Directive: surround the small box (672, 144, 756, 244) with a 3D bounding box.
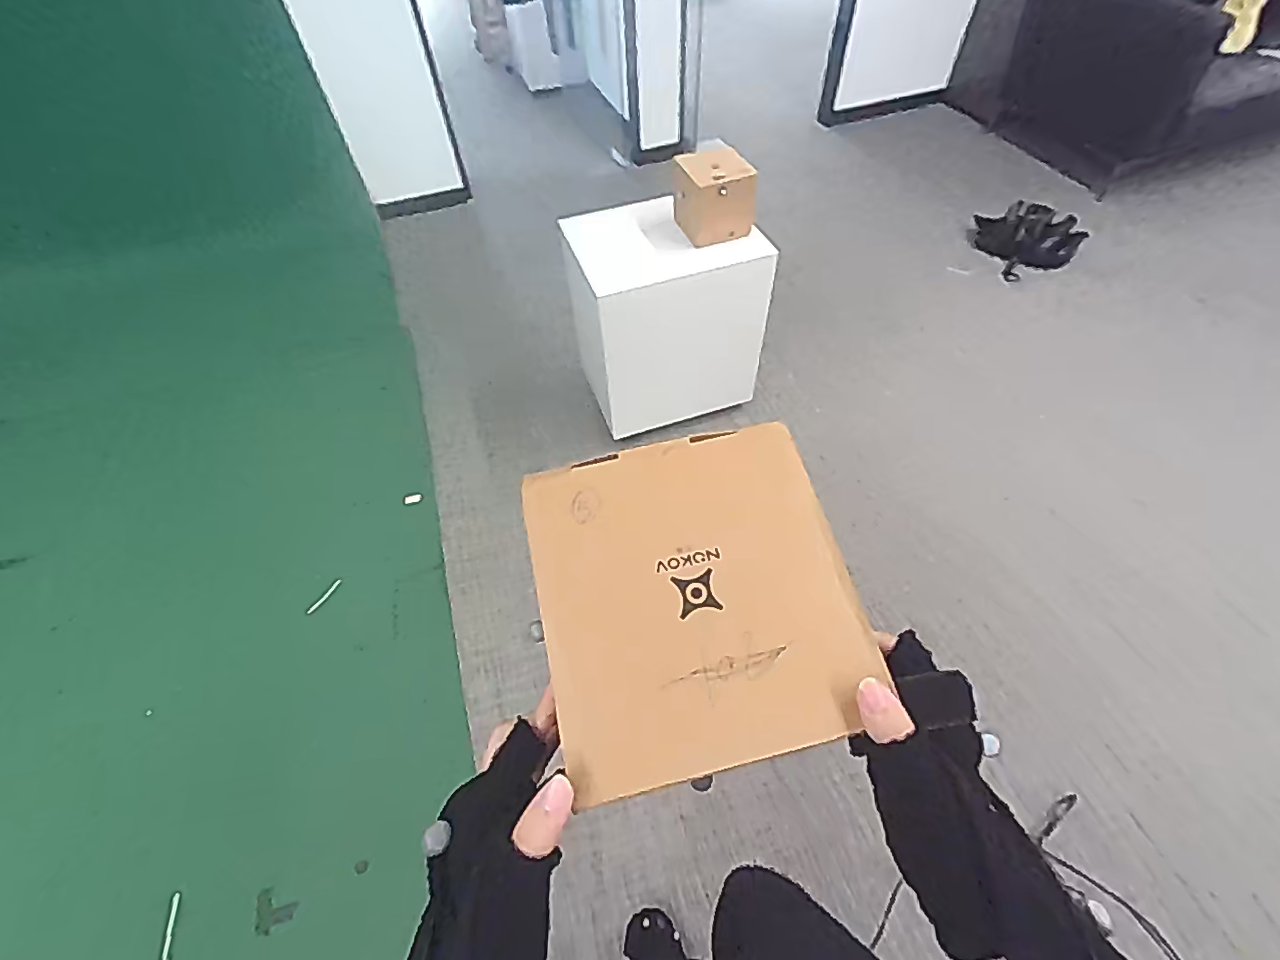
[{"bbox_3d":[0.191,-0.765,1.450,0.168,0.176,0.179,-19,55,-9],"label":"small box"}]

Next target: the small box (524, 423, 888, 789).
[{"bbox_3d":[0.027,0.089,0.368,0.168,0.176,0.179,-12,66,-5],"label":"small box"}]
